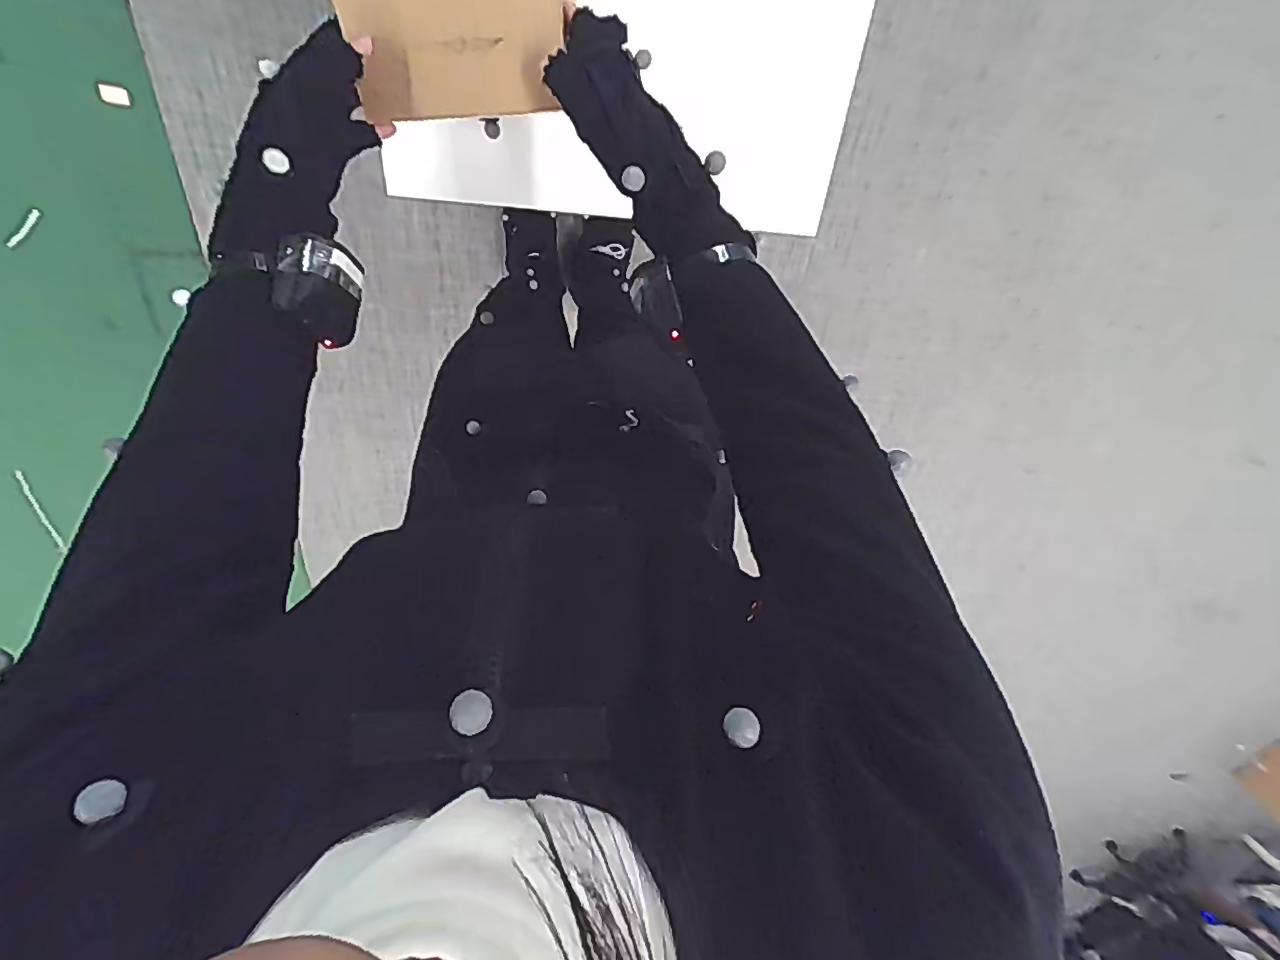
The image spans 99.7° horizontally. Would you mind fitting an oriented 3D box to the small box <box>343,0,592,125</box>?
[{"bbox_3d":[-0.136,-0.406,0.450,0.168,0.176,0.179,-3,125,3],"label":"small box"}]
